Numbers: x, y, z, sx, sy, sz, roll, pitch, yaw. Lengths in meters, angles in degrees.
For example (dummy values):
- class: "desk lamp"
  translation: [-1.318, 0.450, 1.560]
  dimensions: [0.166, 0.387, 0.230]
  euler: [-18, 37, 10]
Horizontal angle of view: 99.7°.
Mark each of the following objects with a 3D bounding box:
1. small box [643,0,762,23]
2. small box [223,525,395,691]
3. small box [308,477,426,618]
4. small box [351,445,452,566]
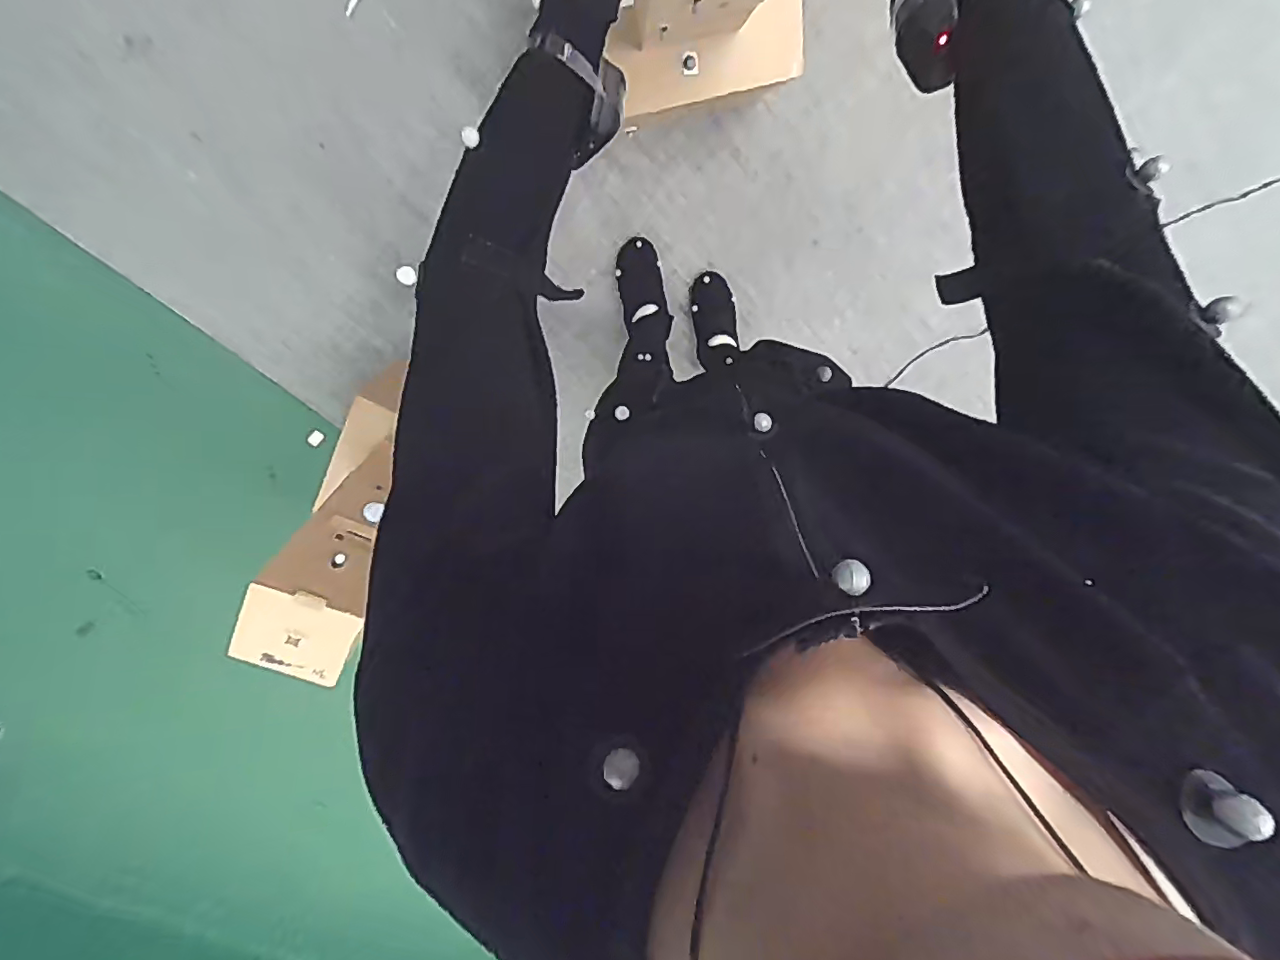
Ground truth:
- class: "small box"
  translation: [0.075, -0.661, 0.619]
  dimensions: [0.168, 0.176, 0.179]
  euler: [-10, 117, 4]
- class: "small box"
  translation: [-0.531, 0.204, 0.891]
  dimensions: [0.168, 0.176, 0.179]
  euler: [27, 113, -16]
- class: "small box"
  translation: [-0.532, 0.124, 1.035]
  dimensions: [0.168, 0.176, 0.179]
  euler: [26, 115, -16]
- class: "small box"
  translation: [-0.535, 0.049, 1.180]
  dimensions: [0.179, 0.176, 0.168]
  euler: [28, 114, -16]
